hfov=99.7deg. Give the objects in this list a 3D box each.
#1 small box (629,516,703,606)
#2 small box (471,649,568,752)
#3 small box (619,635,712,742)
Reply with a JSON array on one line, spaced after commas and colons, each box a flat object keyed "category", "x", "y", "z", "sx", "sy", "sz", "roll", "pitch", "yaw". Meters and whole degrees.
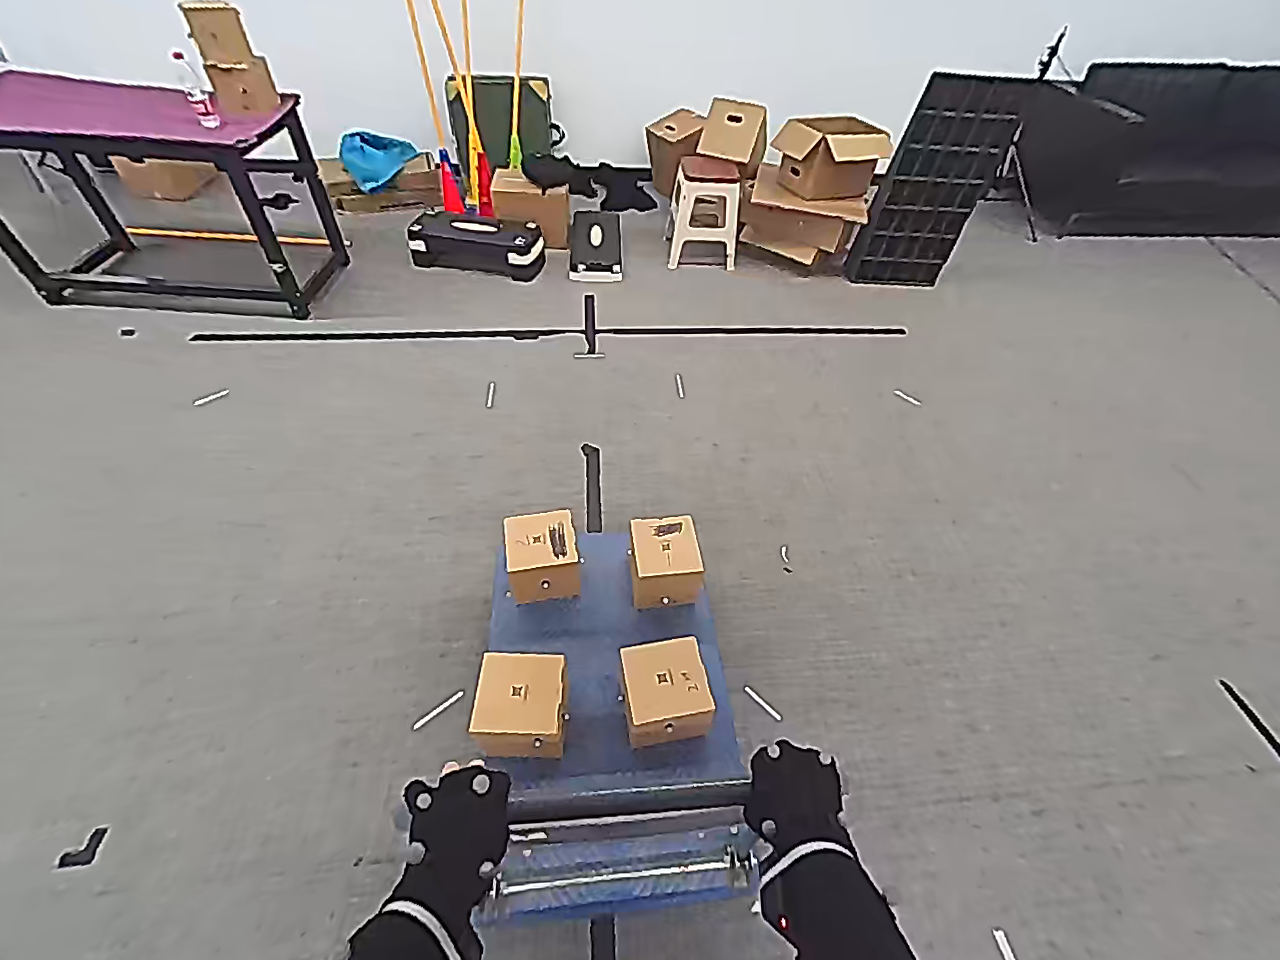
[{"category": "small box", "x": 0.062, "y": 0.216, "z": 1.443, "sx": 0.168, "sy": 0.176, "sz": 0.179, "roll": -4, "pitch": 50, "yaw": -7}, {"category": "small box", "x": -0.255, "y": 0.487, "z": 1.187, "sx": 0.179, "sy": 0.176, "sz": 0.168, "roll": 3, "pitch": 49, "yaw": -3}, {"category": "small box", "x": 0.051, "y": 0.473, "z": 1.218, "sx": 0.179, "sy": 0.176, "sz": 0.168, "roll": -6, "pitch": 50, "yaw": -9}]
